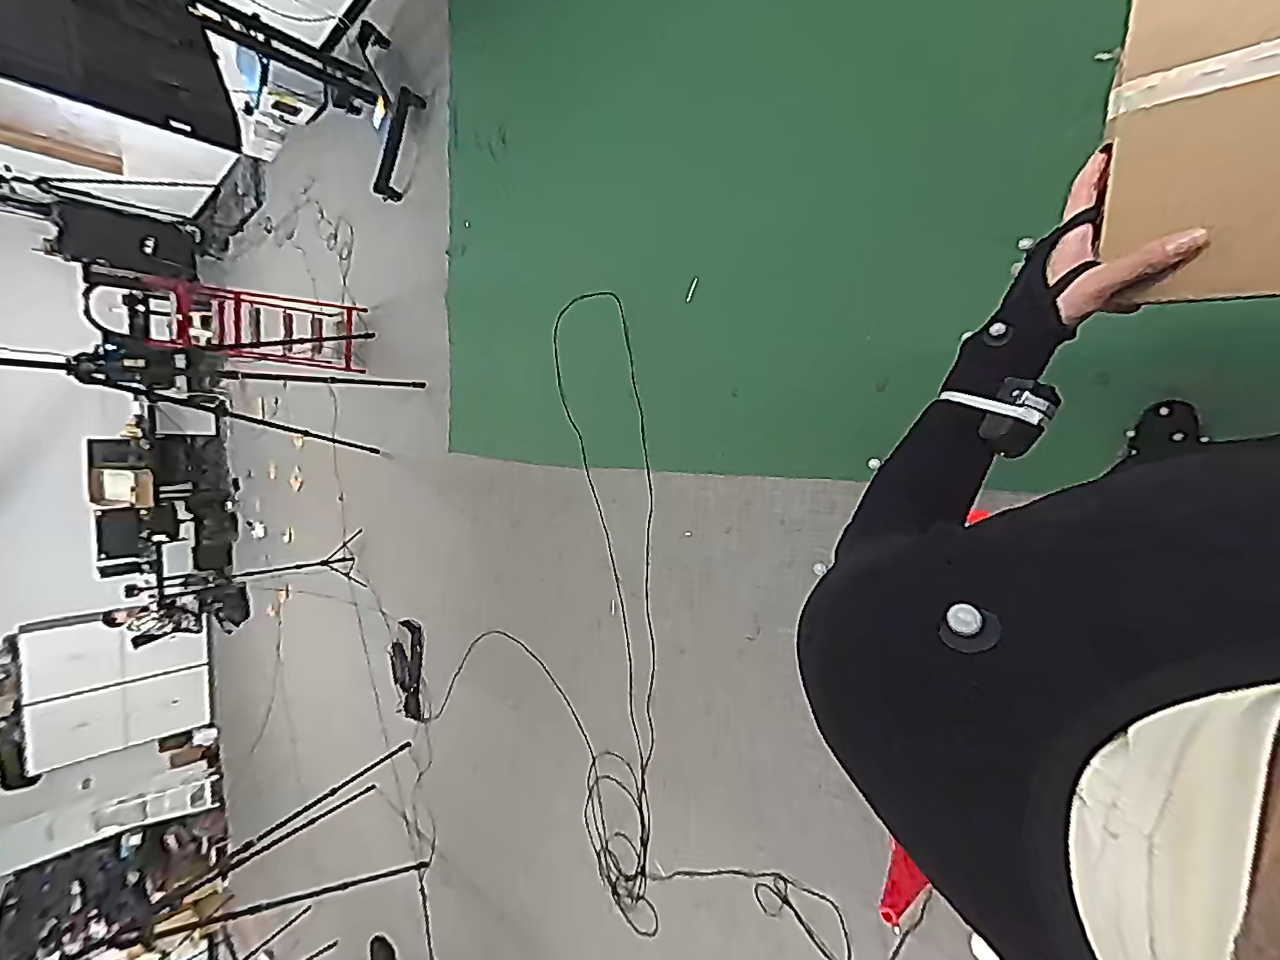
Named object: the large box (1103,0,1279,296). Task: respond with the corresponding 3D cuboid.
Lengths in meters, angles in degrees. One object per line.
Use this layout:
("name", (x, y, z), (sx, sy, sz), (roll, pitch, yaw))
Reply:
("large box", (0.628, -0.319, 0.385), (0.408, 0.320, 0.320), (12, 114, 45))
